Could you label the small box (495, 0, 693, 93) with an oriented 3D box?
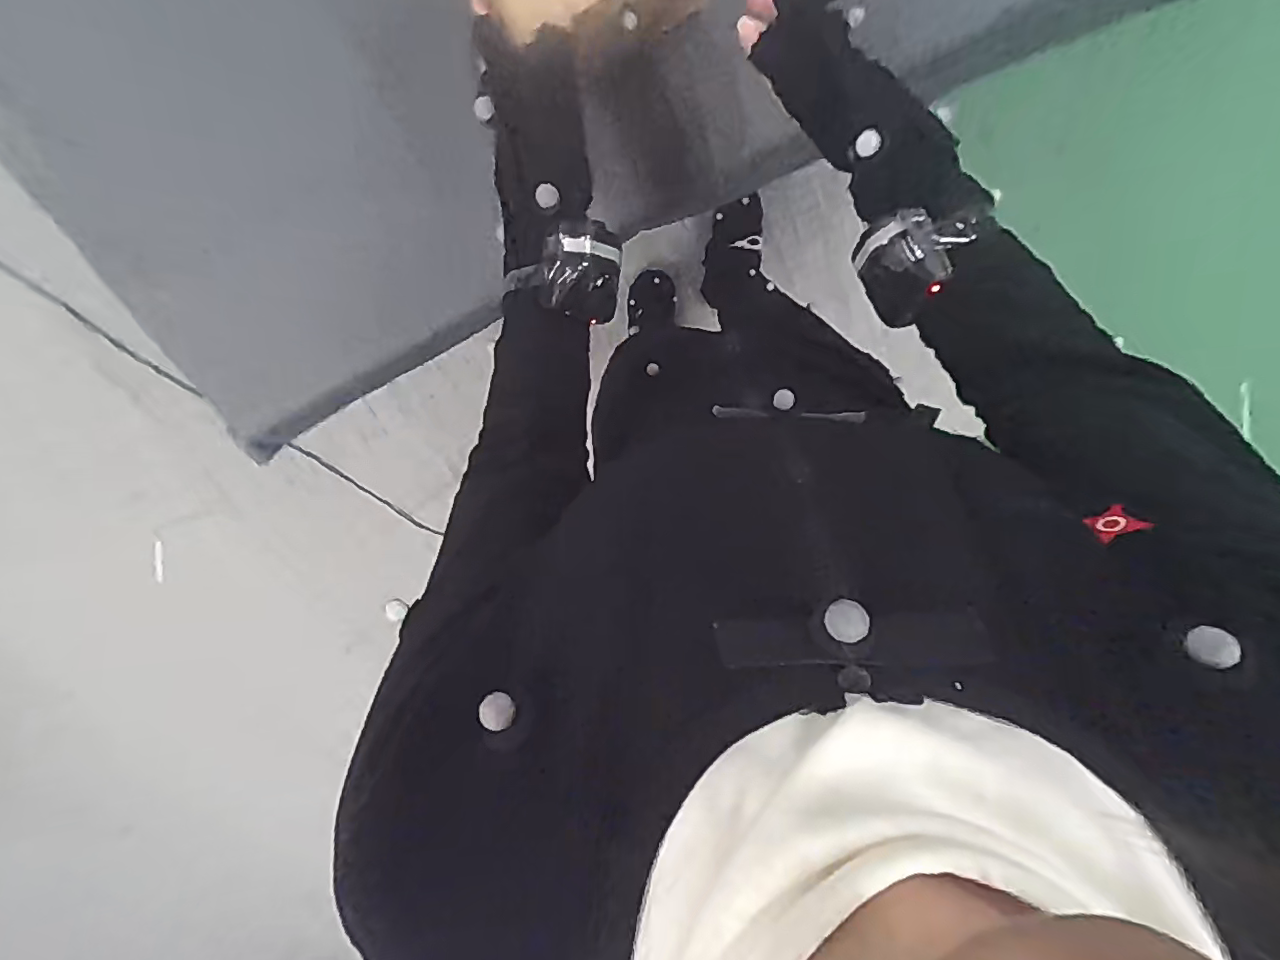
[{"bbox_3d":[-0.049,-0.443,0.417,0.179,0.176,0.168,-27,113,8],"label":"small box"}]
